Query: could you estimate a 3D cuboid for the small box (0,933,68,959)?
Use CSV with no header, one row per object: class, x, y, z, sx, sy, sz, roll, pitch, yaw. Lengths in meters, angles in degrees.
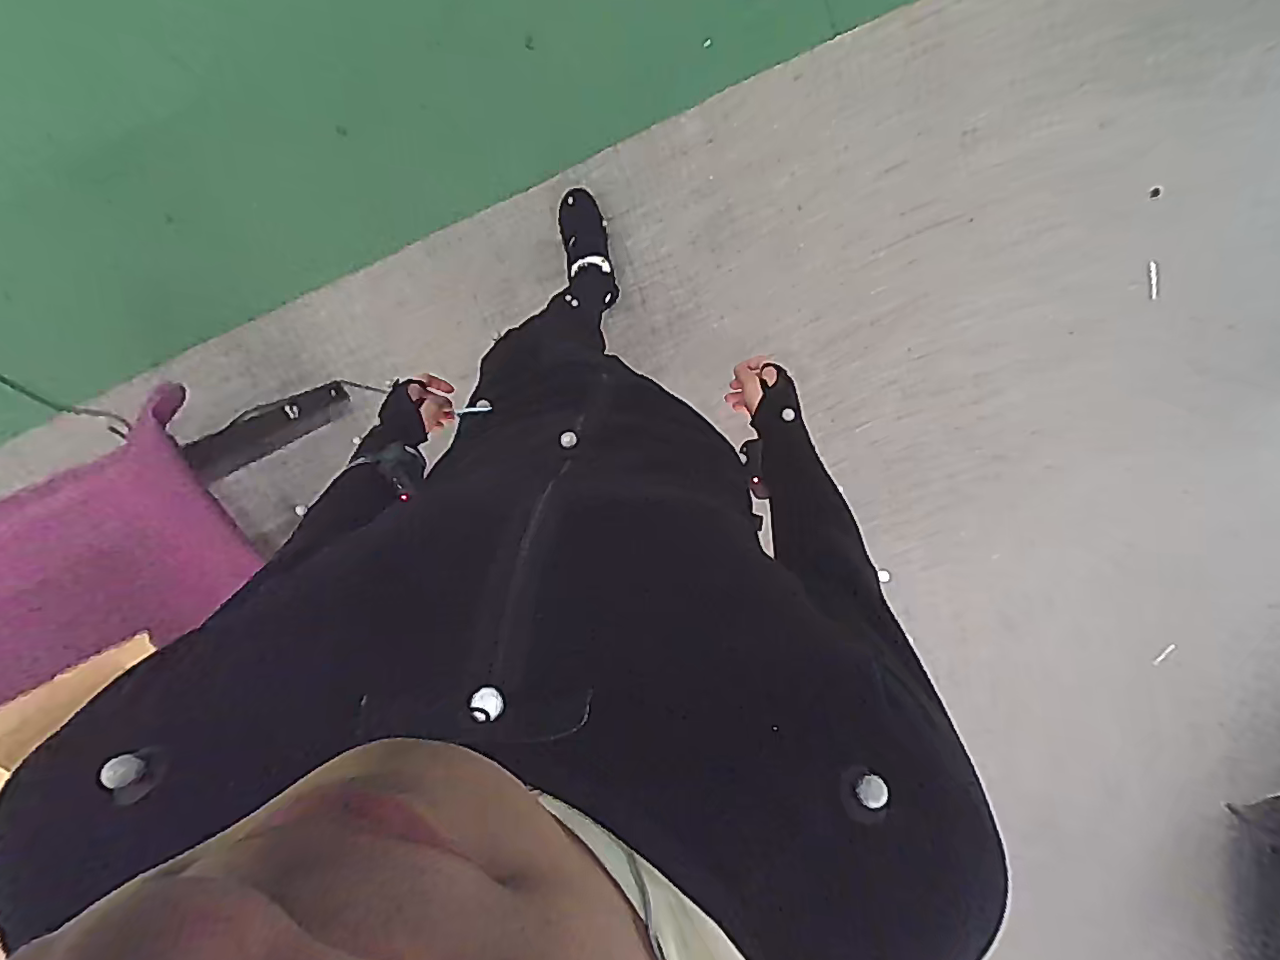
small box,-0.822,0.705,0.650,0.179,0.176,0.168,-27,106,6
